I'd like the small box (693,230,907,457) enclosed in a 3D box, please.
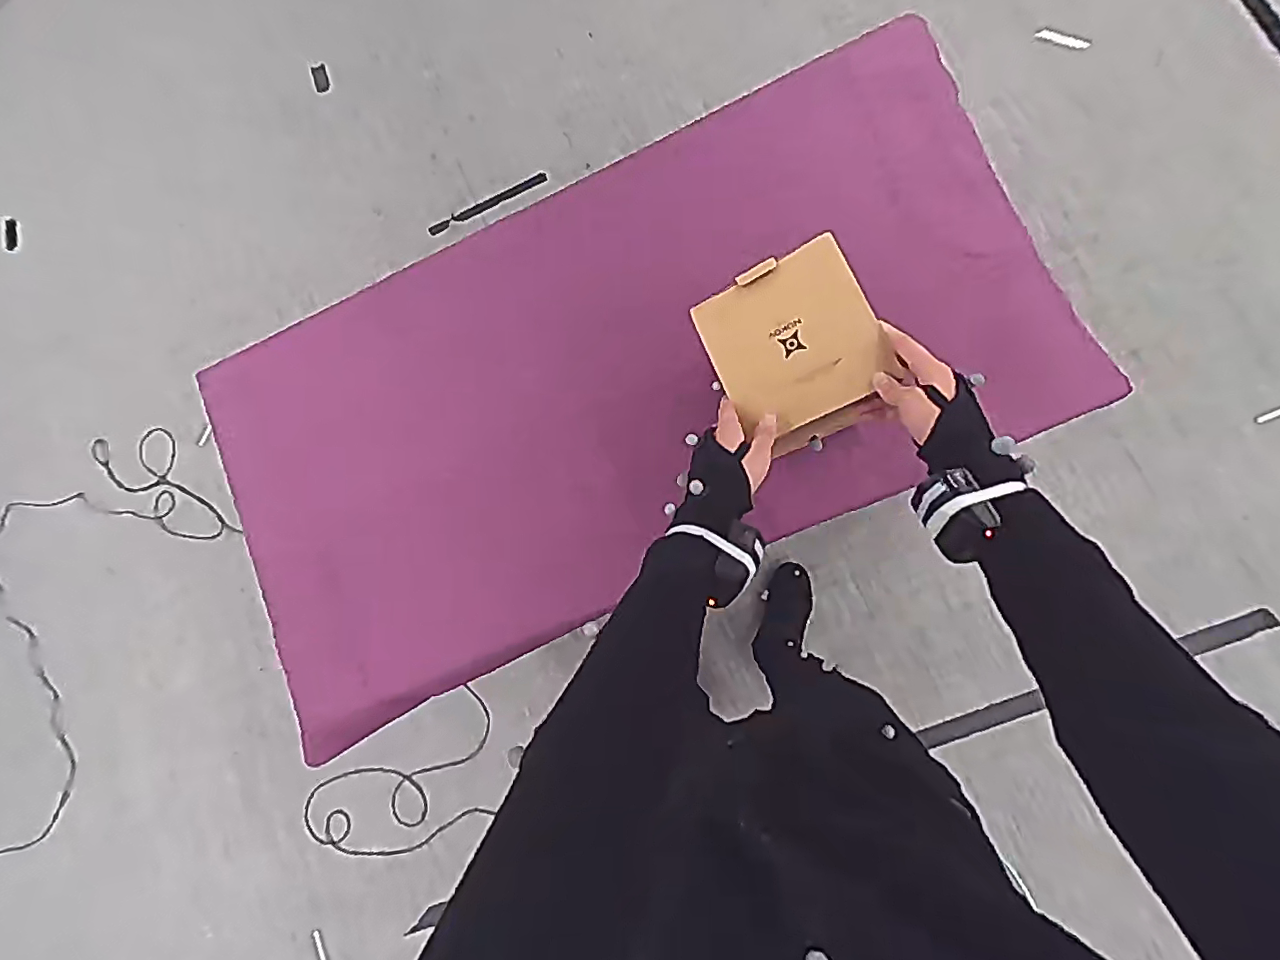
[{"bbox_3d":[0.182,-0.141,0.631,0.168,0.176,0.179,-25,79,16],"label":"small box"}]
